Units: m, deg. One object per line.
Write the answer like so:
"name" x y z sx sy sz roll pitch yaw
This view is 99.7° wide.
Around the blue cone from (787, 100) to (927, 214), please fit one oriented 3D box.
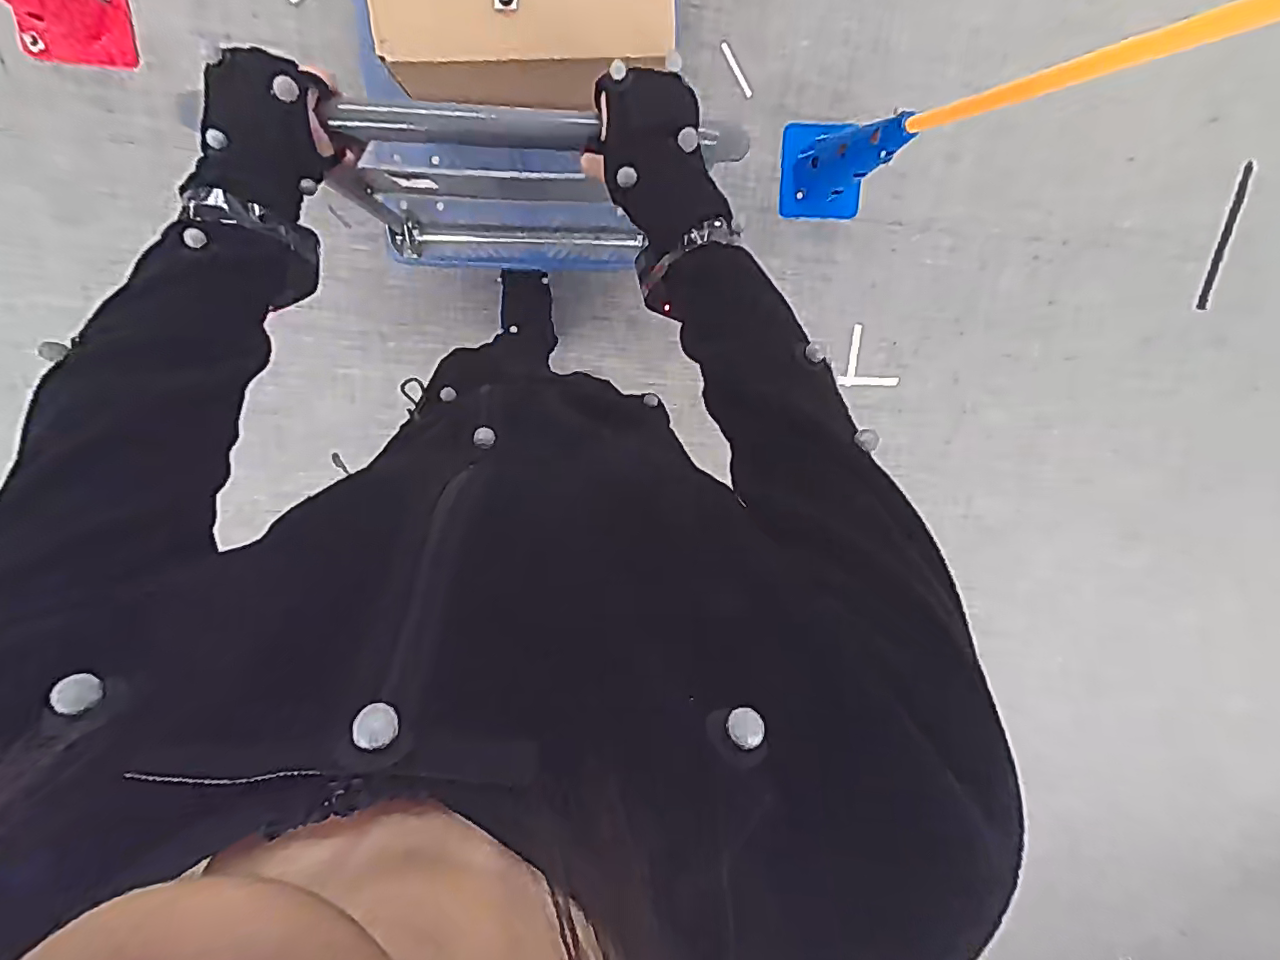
"blue cone" 0.459 -0.683 1.116 0.193 0.380 0.192 -1 107 -7
